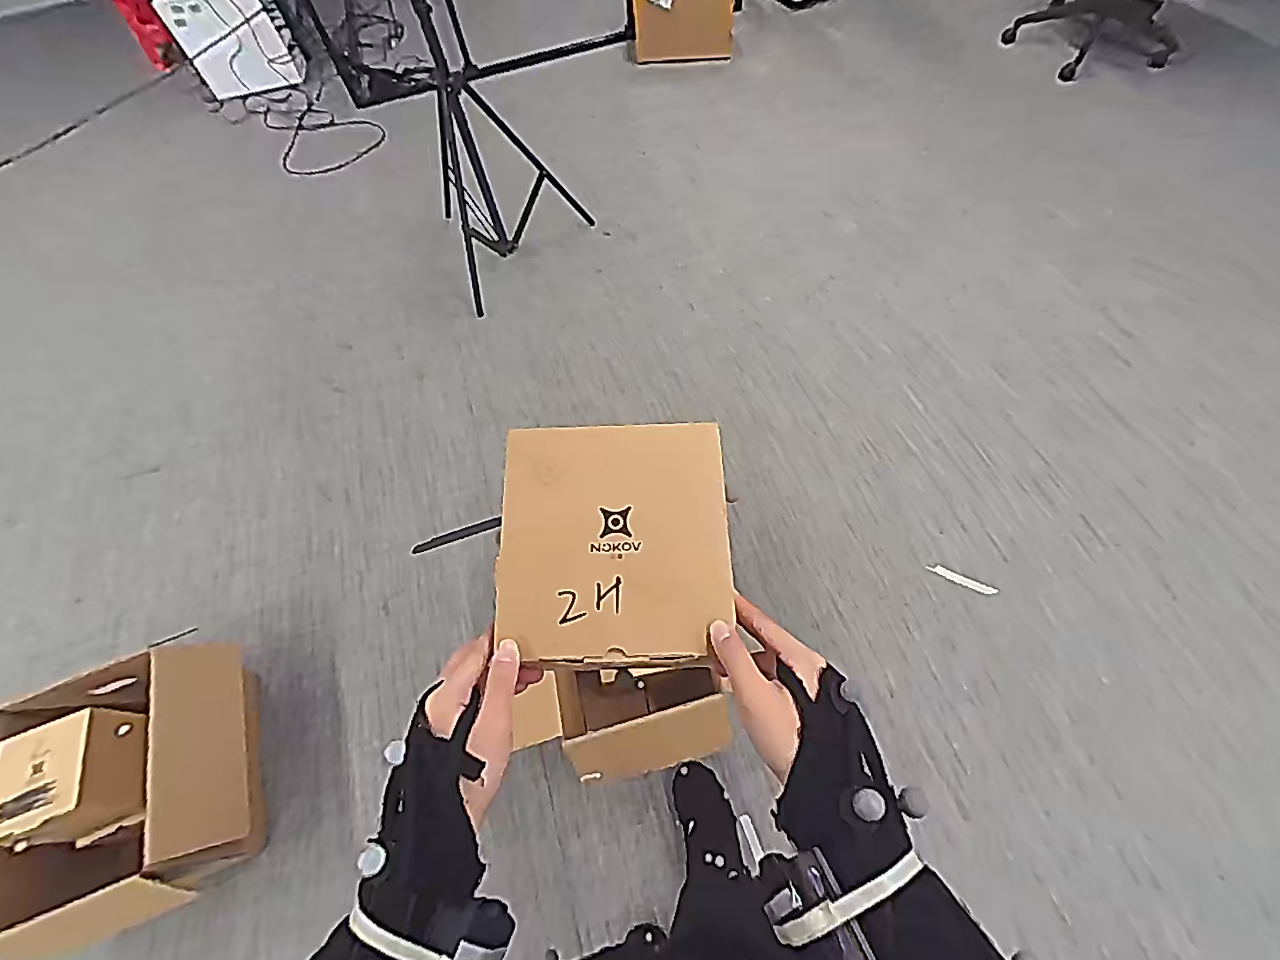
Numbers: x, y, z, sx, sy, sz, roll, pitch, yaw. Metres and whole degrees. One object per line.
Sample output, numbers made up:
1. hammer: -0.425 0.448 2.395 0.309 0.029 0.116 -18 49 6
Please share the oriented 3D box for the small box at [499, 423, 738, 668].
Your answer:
1. small box: -0.015 0.066 0.471 0.168 0.176 0.179 -2 68 1
